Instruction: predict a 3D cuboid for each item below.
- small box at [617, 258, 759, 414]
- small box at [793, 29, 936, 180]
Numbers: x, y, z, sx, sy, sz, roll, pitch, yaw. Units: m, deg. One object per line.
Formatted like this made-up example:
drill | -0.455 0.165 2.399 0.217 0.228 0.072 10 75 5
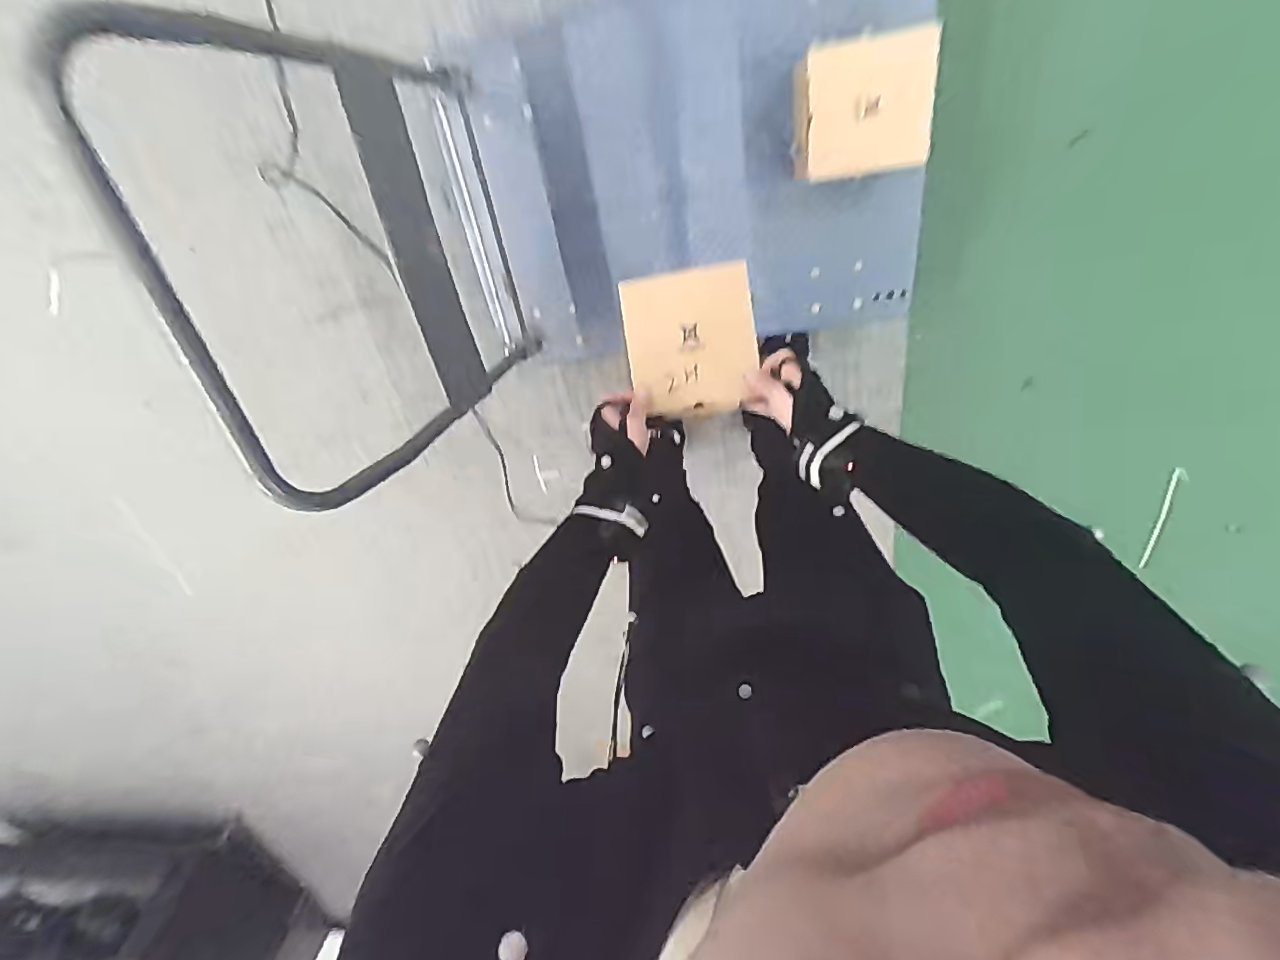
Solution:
small box | 0.069 -0.193 0.763 0.168 0.176 0.179 -7 99 8
small box | 0.337 -0.577 0.853 0.179 0.176 0.168 -3 120 10
